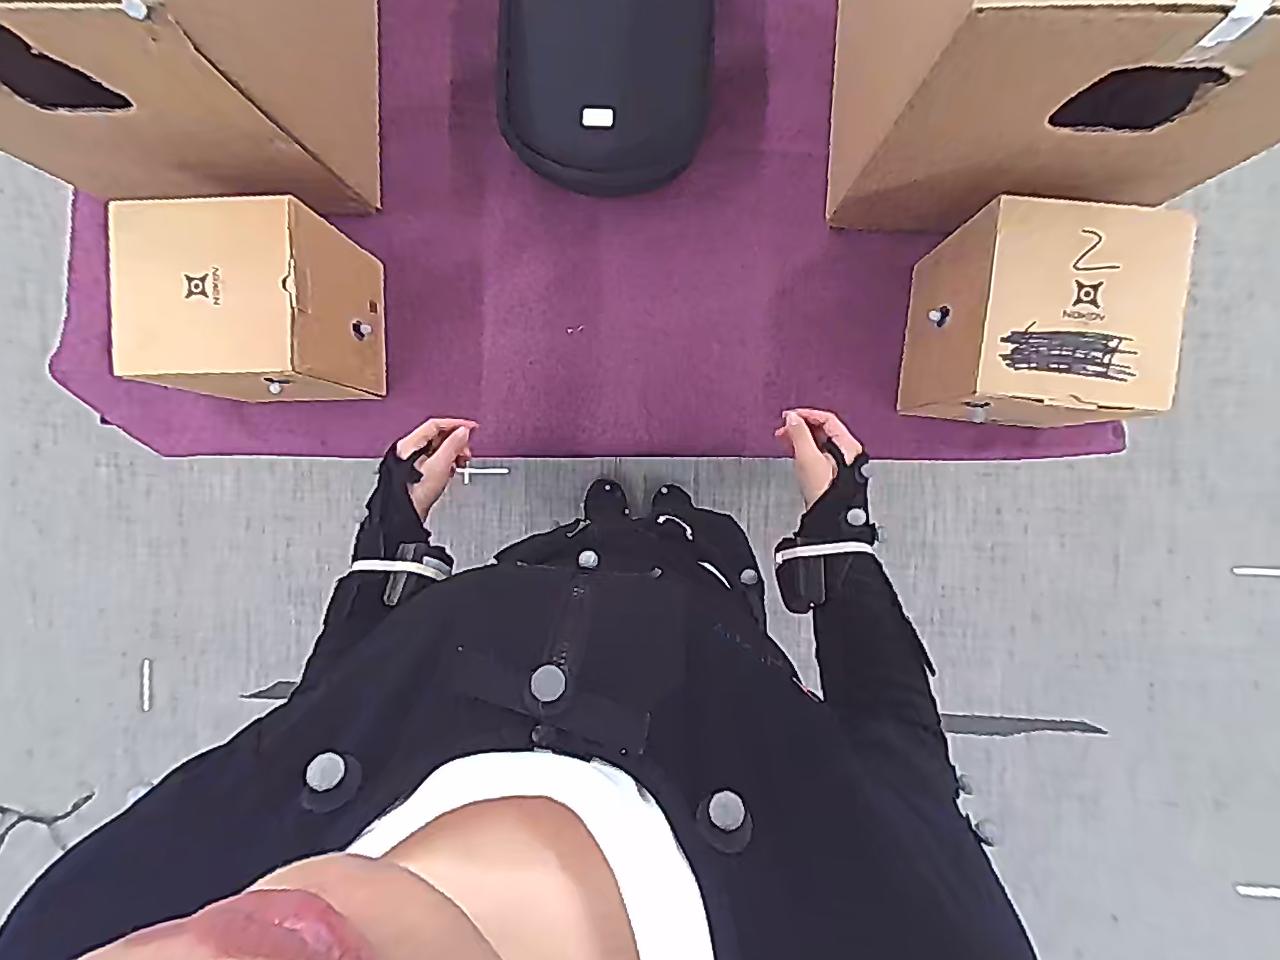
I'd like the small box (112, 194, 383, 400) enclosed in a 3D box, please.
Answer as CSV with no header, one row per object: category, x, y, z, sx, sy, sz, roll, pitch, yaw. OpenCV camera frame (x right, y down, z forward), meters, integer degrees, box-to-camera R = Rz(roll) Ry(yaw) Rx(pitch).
small box,-0.404,-0.181,0.583,0.179,0.176,0.168,-2,90,1

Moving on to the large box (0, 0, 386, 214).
large box,-0.465,-0.515,0.506,0.320,0.320,0.408,0,94,1
